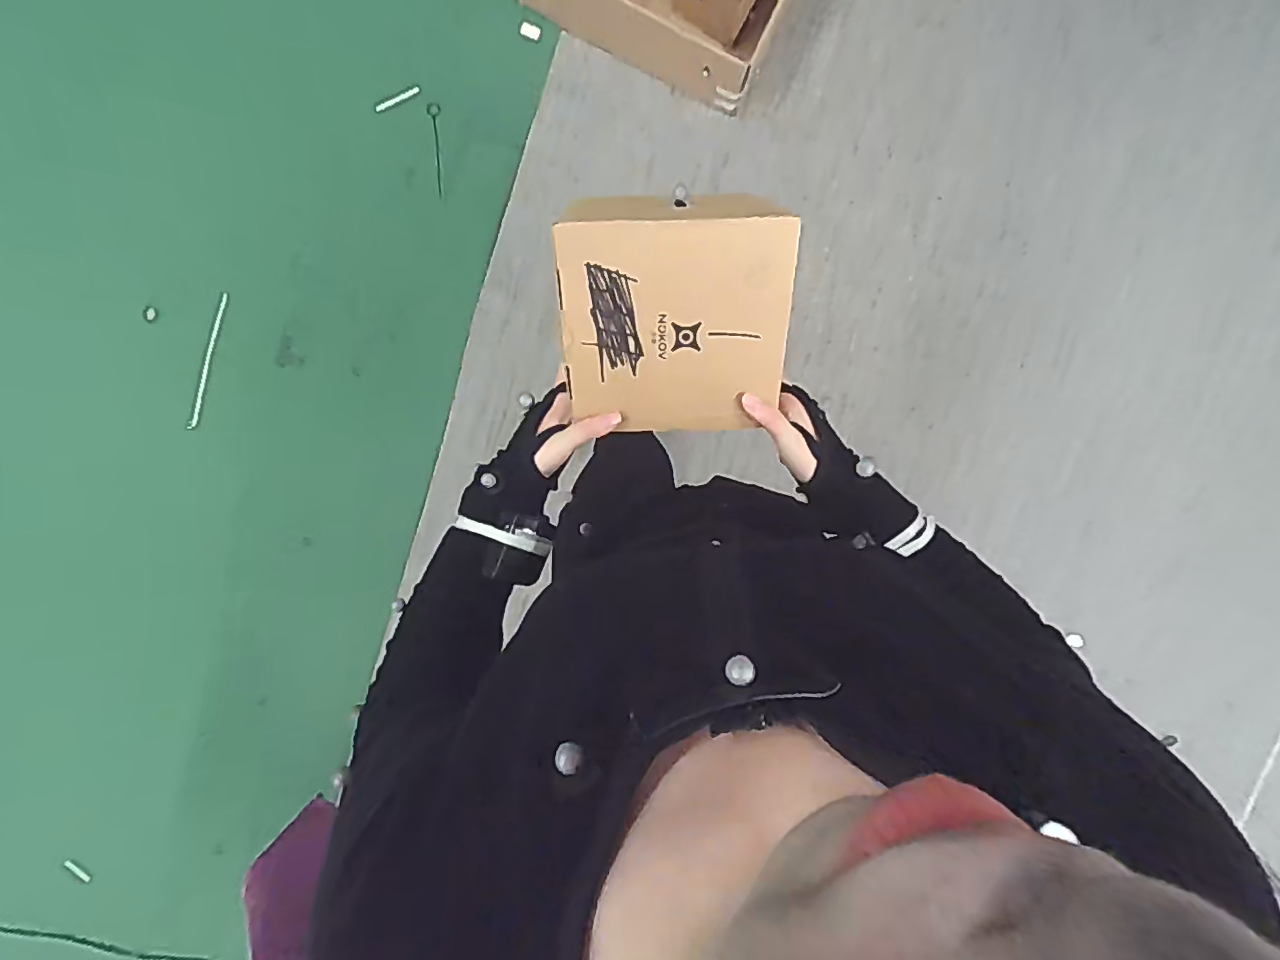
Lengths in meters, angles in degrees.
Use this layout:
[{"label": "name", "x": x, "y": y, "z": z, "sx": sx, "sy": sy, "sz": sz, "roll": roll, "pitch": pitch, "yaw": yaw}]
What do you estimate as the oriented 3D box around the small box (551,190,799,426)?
[{"label": "small box", "x": 0.025, "y": -0.159, "z": 0.485, "sx": 0.179, "sy": 0.176, "sz": 0.168, "roll": -2, "pitch": 123, "yaw": -1}]
